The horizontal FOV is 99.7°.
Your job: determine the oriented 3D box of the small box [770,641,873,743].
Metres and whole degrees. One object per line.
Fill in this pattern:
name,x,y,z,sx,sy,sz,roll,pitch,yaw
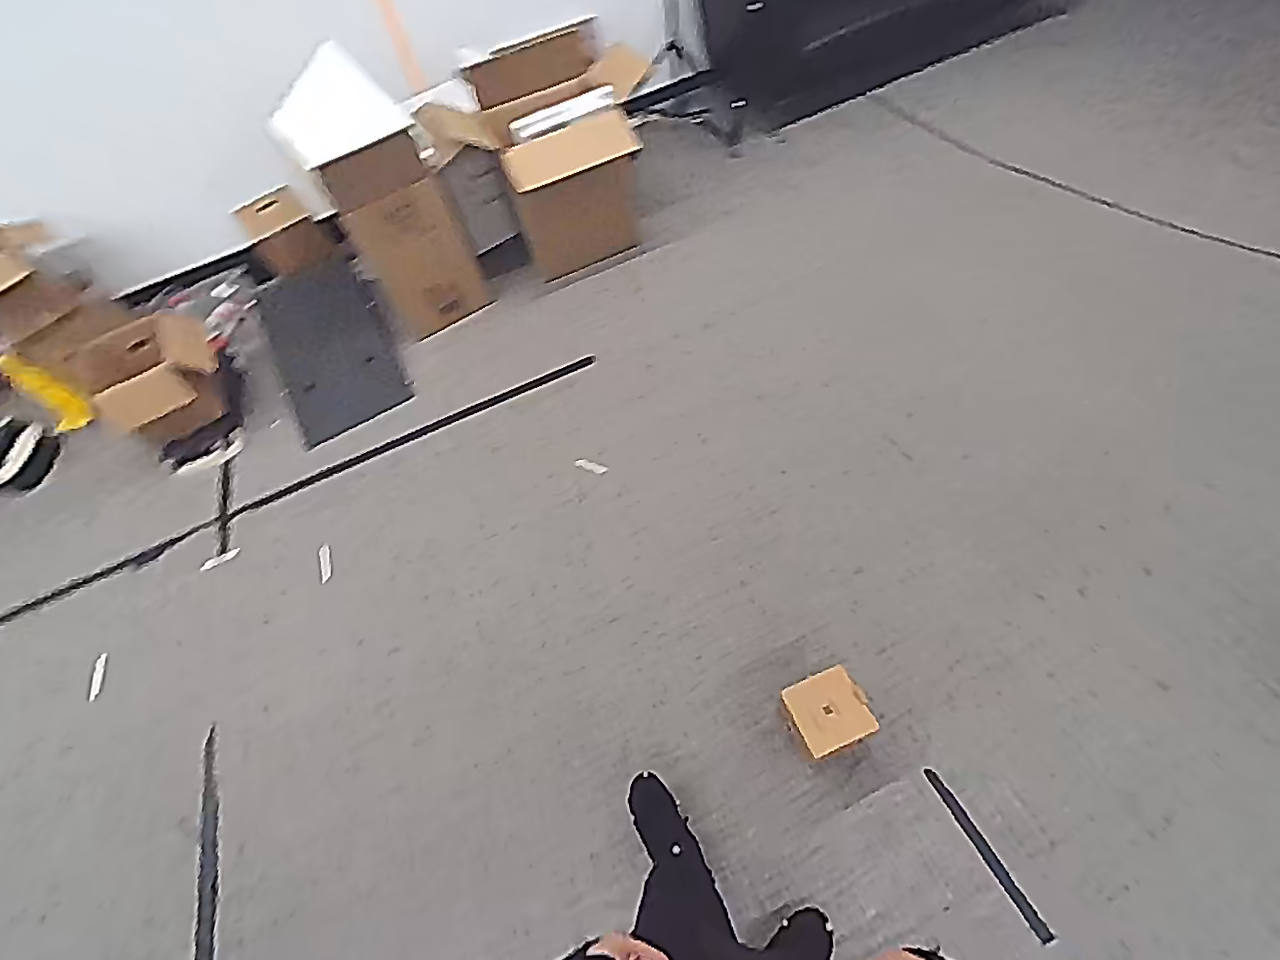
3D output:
small box,0.438,0.527,1.336,0.179,0.176,0.168,-22,55,-5
